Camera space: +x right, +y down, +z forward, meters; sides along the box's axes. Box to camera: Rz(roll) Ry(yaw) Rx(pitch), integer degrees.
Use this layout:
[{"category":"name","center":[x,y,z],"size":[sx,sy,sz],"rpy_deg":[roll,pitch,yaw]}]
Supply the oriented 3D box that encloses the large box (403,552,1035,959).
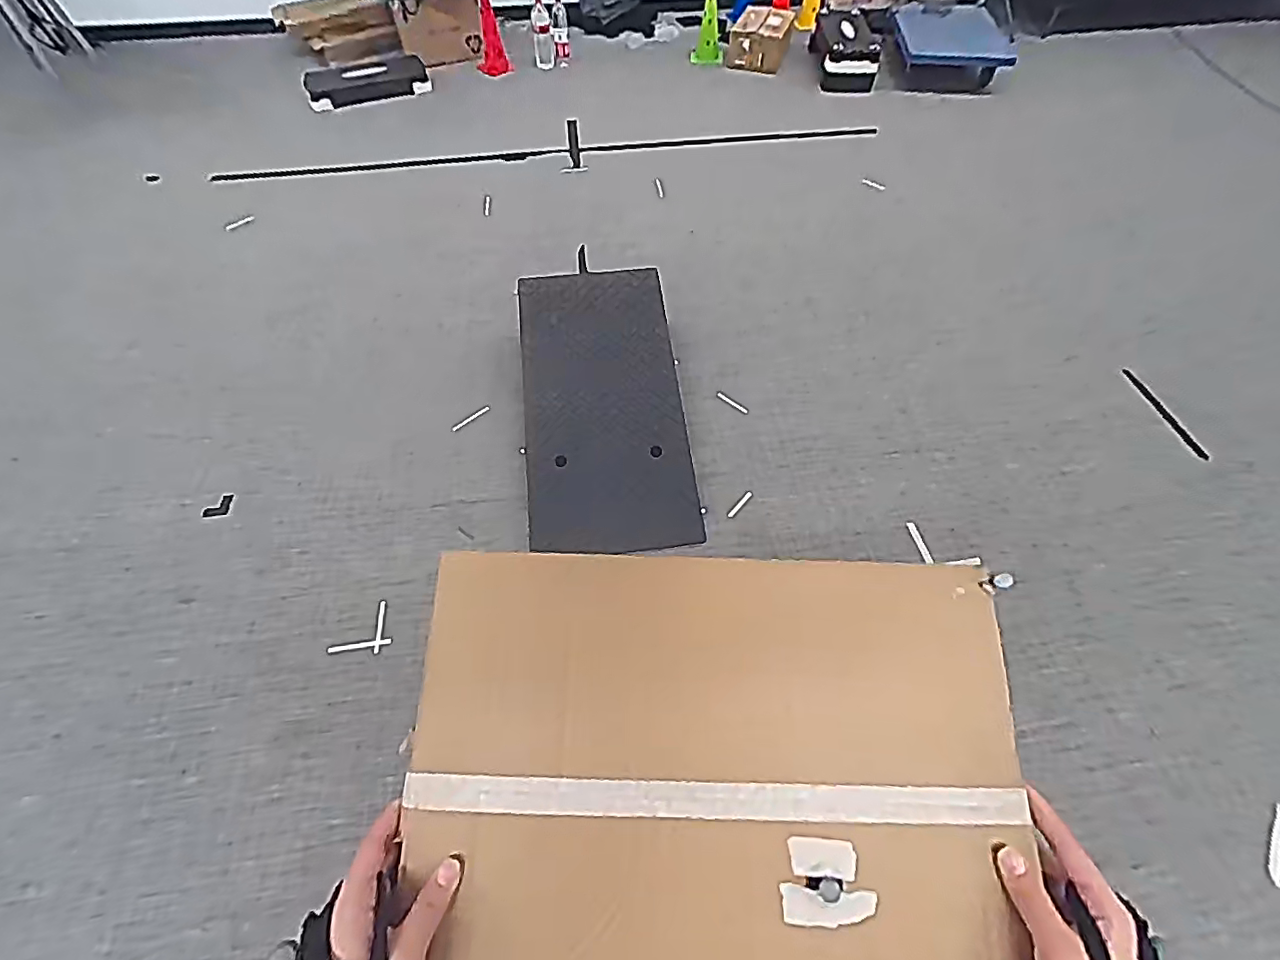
[{"category":"large box","center":[0.049,0.249,0.508],"size":[0.408,0.320,0.320],"rpy_deg":[1,74,0]}]

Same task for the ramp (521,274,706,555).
[{"category":"ramp","center":[-0.111,-0.247,1.699],"size":[0.509,0.206,0.991],"rpy_deg":[-7,57,-5]}]
